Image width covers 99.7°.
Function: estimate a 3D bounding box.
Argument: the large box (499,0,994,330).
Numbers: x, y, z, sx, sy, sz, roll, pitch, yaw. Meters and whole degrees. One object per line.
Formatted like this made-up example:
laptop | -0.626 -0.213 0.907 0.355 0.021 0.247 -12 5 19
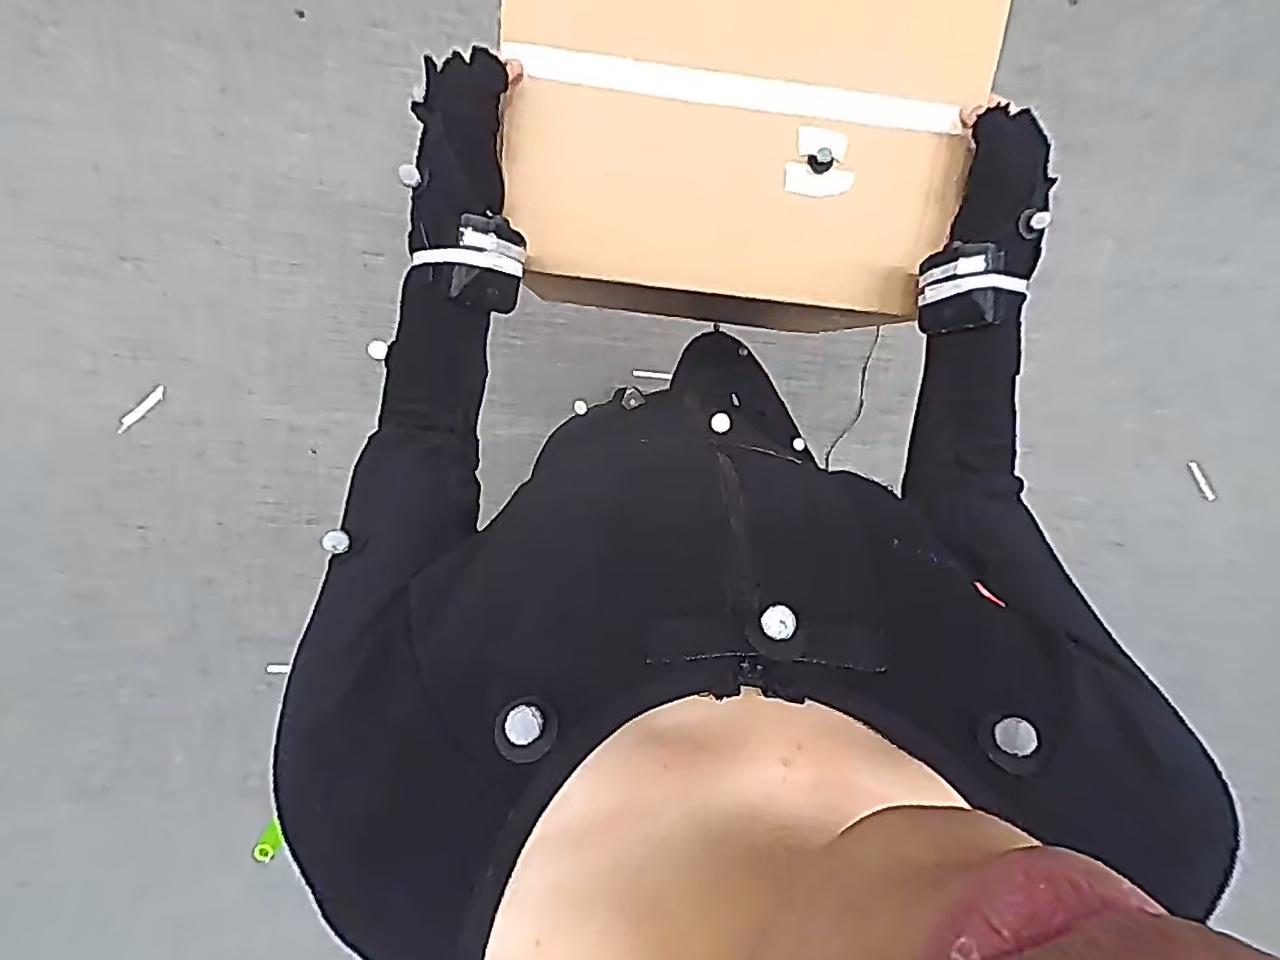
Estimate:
large box | 0.077 -0.351 0.597 0.408 0.320 0.320 5 102 -5
